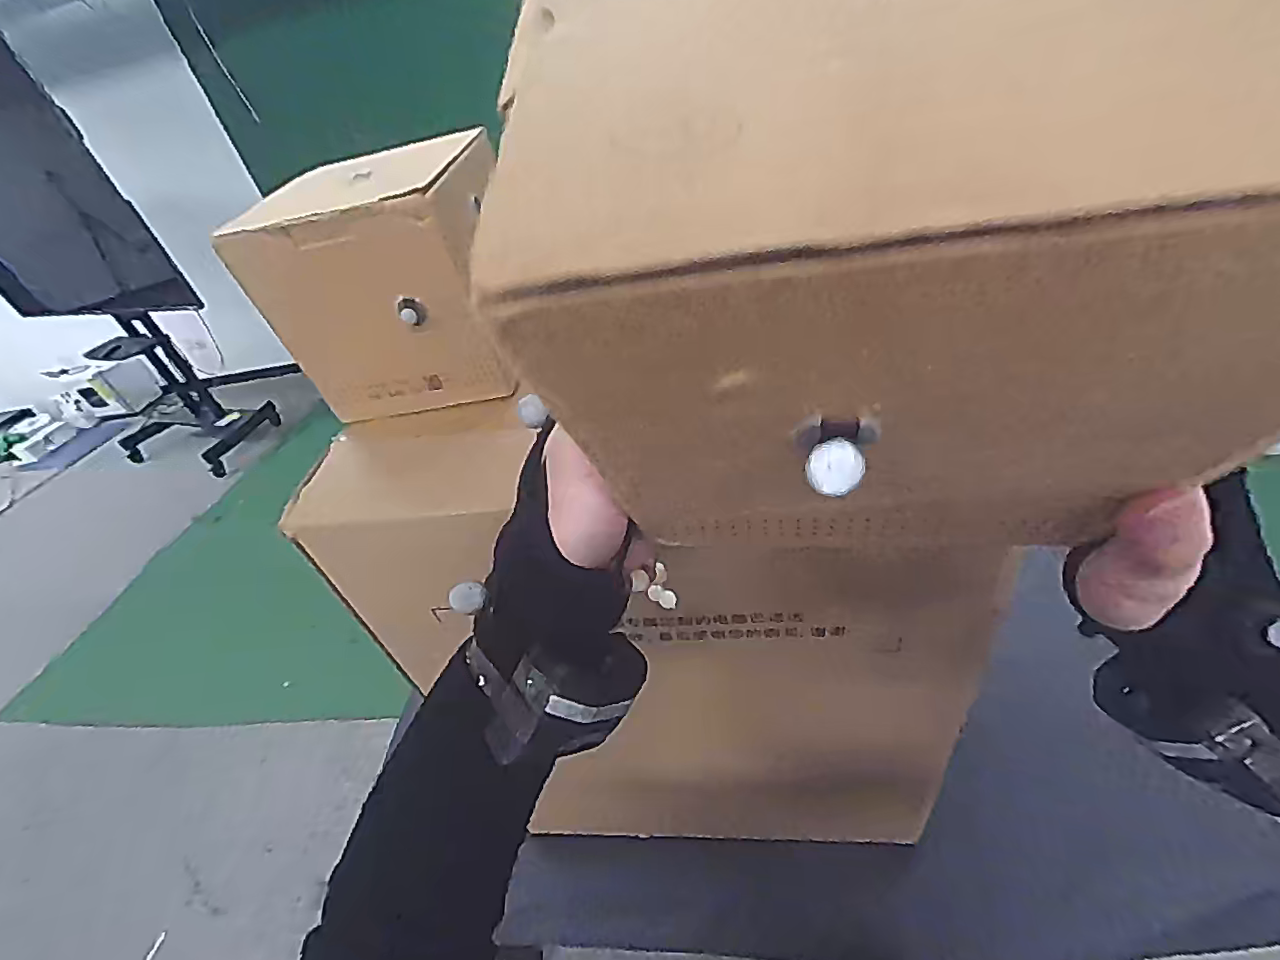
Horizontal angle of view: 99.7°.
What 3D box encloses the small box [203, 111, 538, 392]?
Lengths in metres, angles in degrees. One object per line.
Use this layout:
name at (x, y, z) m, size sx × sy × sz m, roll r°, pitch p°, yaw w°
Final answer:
small box at (-0.197, -0.188, 0.464) m, size 0.168 × 0.176 × 0.179 m, roll -6°, pitch 42°, yaw 7°
